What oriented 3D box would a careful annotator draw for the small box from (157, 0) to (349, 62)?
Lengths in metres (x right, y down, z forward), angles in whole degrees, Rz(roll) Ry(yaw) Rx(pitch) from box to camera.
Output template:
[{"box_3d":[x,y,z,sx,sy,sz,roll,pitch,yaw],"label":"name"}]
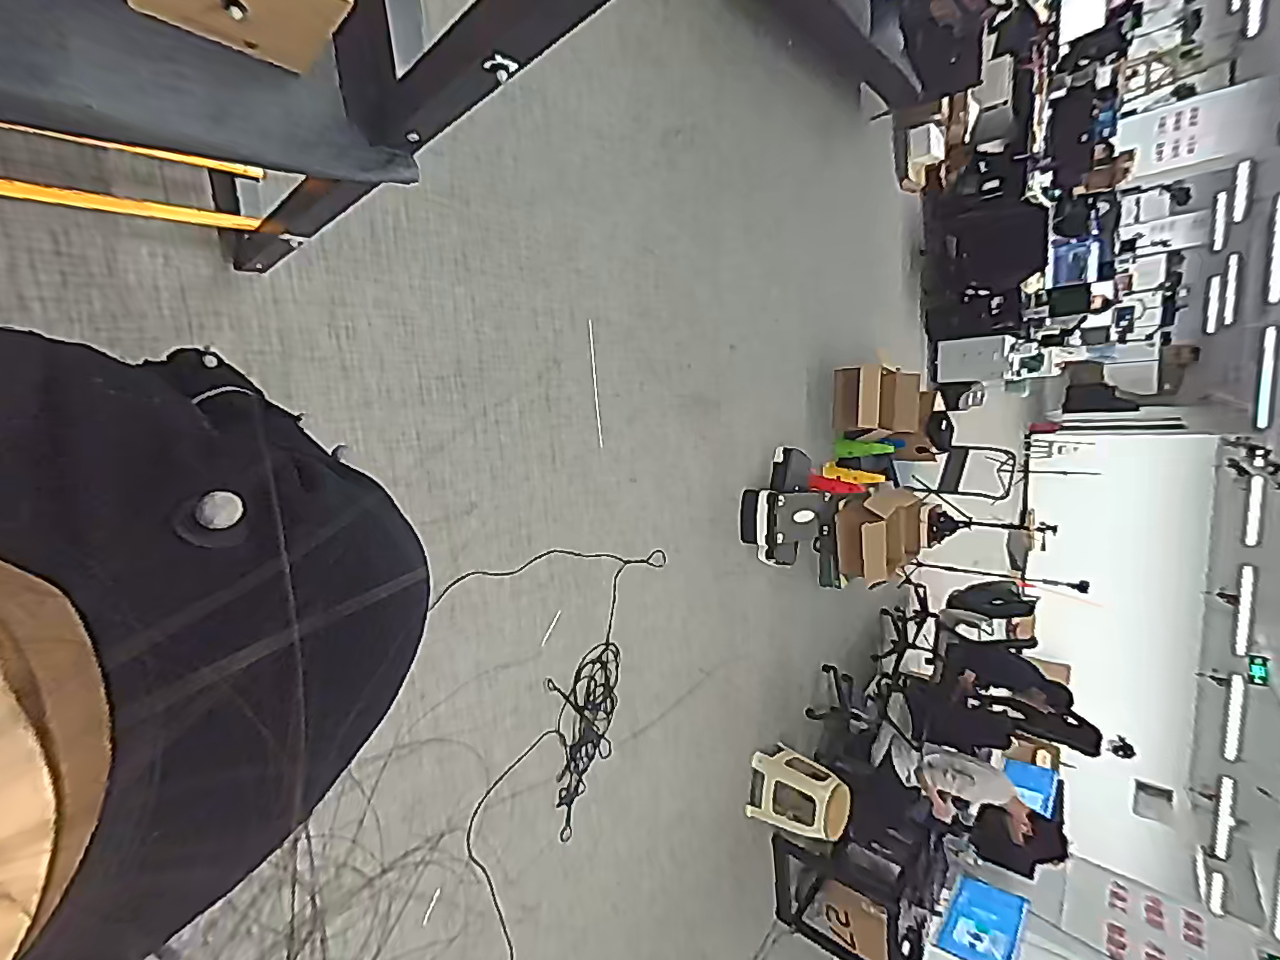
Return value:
[{"box_3d":[-0.420,-0.588,0.558,0.168,0.176,0.179,-9,99,-48],"label":"small box"}]
